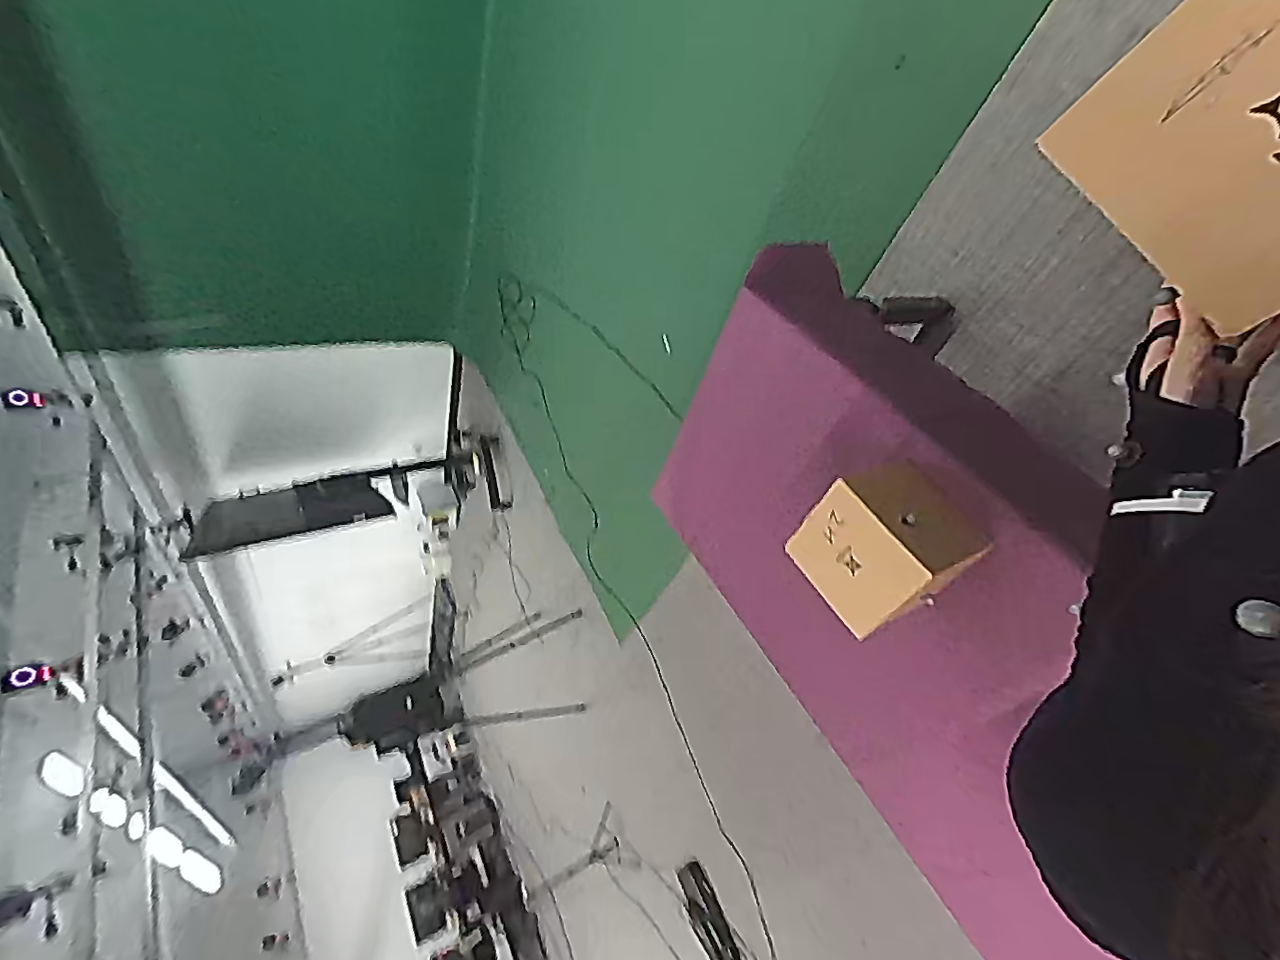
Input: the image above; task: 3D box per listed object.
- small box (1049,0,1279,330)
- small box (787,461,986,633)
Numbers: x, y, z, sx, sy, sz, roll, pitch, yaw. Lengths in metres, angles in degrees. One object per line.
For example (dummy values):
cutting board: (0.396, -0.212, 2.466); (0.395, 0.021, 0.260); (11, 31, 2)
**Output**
small box: (0.411, -0.221, 0.337); (0.168, 0.176, 0.179); (-43, 73, 46)
small box: (0.365, 0.092, 0.808); (0.179, 0.176, 0.168); (55, 141, 30)
